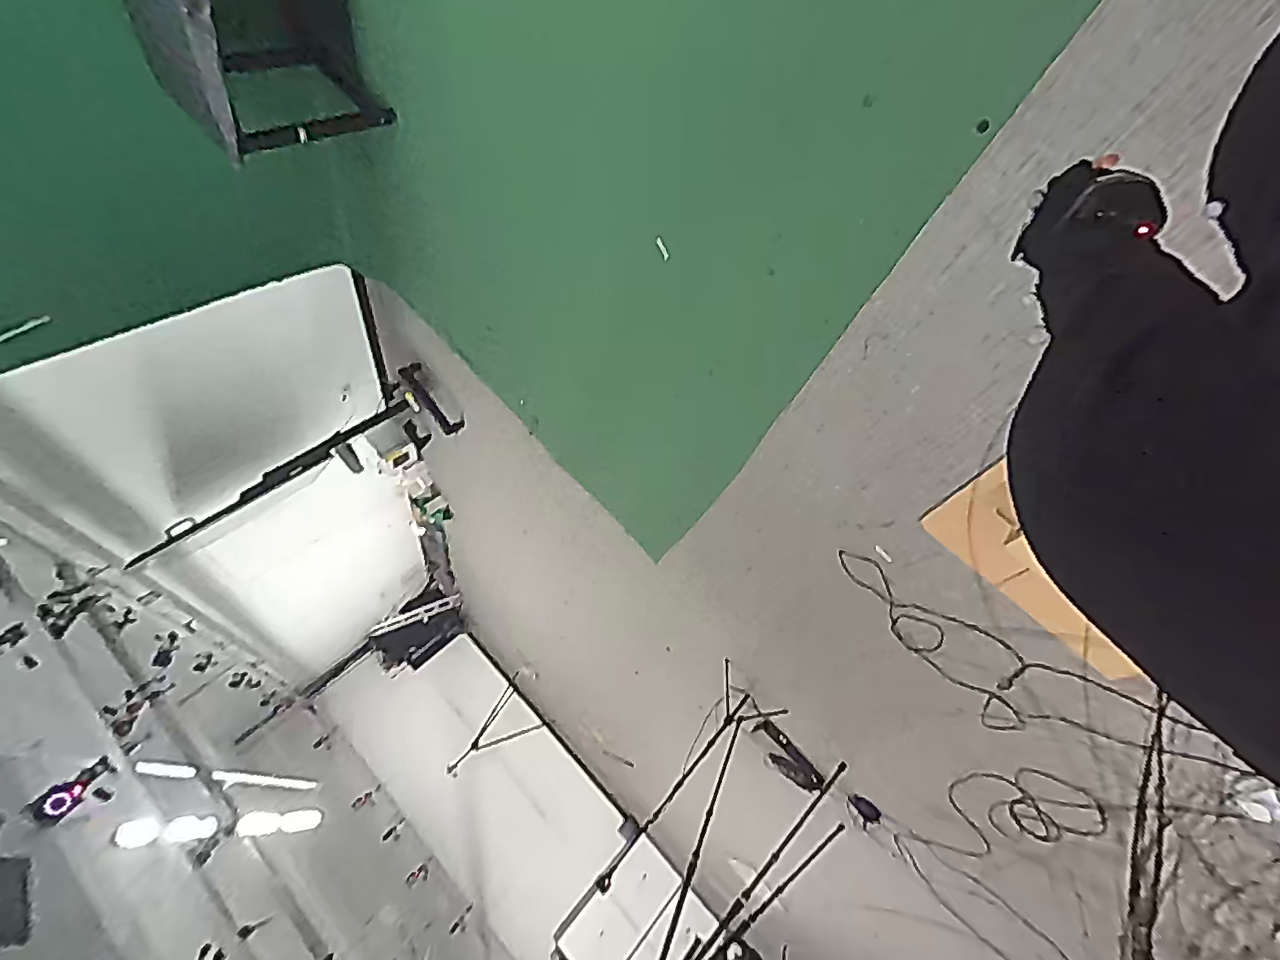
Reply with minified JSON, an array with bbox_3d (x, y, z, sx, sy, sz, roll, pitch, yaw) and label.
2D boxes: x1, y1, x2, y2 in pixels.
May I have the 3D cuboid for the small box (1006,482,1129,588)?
[{"bbox_3d":[1.099,0.139,1.388,0.168,0.176,0.179,42,147,14],"label":"small box"}]
